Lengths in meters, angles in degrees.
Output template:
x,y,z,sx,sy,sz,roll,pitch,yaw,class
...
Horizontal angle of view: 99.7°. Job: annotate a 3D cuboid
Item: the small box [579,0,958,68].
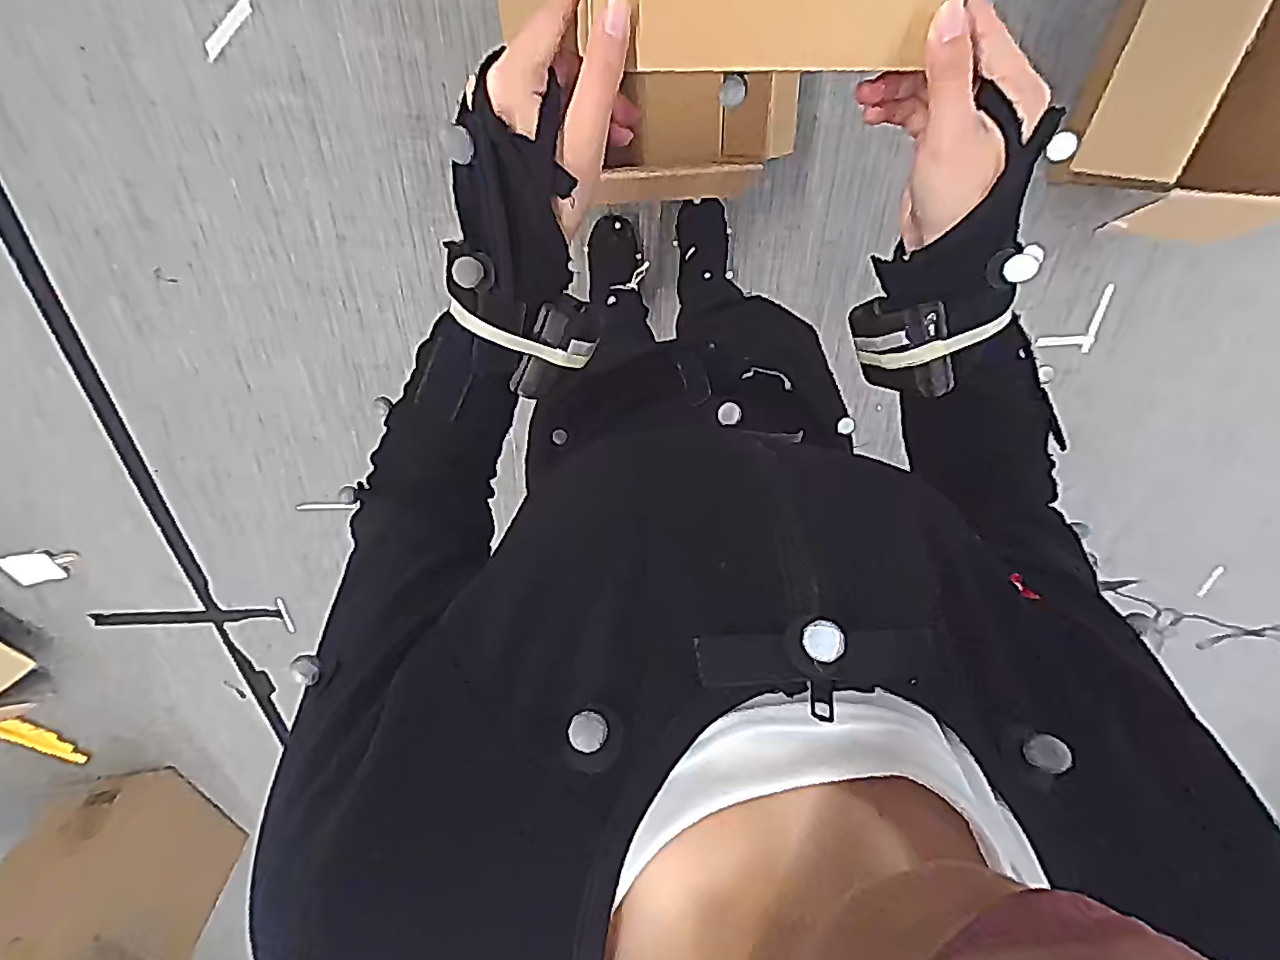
x,y,z,sx,sy,sz,roll,pitch,yaw,class
0.055,-0.314,0.269,0.179,0.176,0.168,-3,129,-4,small box
